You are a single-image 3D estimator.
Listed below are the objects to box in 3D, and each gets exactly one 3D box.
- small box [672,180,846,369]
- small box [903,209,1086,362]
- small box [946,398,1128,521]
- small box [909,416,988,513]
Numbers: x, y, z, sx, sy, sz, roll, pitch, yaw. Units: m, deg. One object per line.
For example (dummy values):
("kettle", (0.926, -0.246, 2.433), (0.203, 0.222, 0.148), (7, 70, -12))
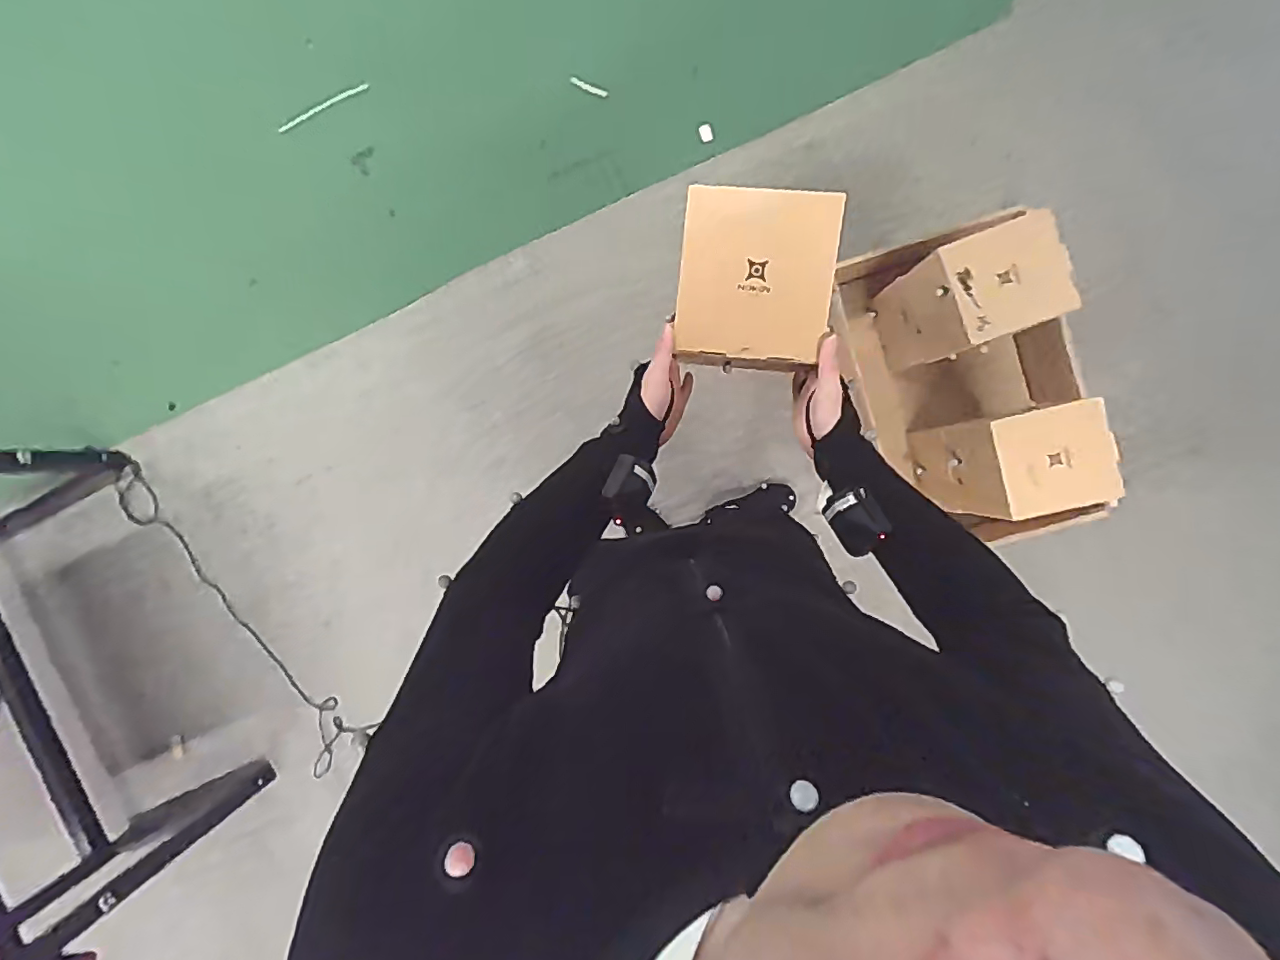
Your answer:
("small box", (0.128, -0.231, 0.648), (0.168, 0.176, 0.179), (6, 101, 4))
("small box", (0.585, -0.316, 0.915), (0.179, 0.176, 0.168), (-19, 90, 4))
("small box", (0.663, -0.036, 0.922), (0.179, 0.176, 0.168), (-13, 91, 4))
("small box", (0.675, -0.037, 1.085), (0.179, 0.176, 0.168), (-12, 91, 4))
